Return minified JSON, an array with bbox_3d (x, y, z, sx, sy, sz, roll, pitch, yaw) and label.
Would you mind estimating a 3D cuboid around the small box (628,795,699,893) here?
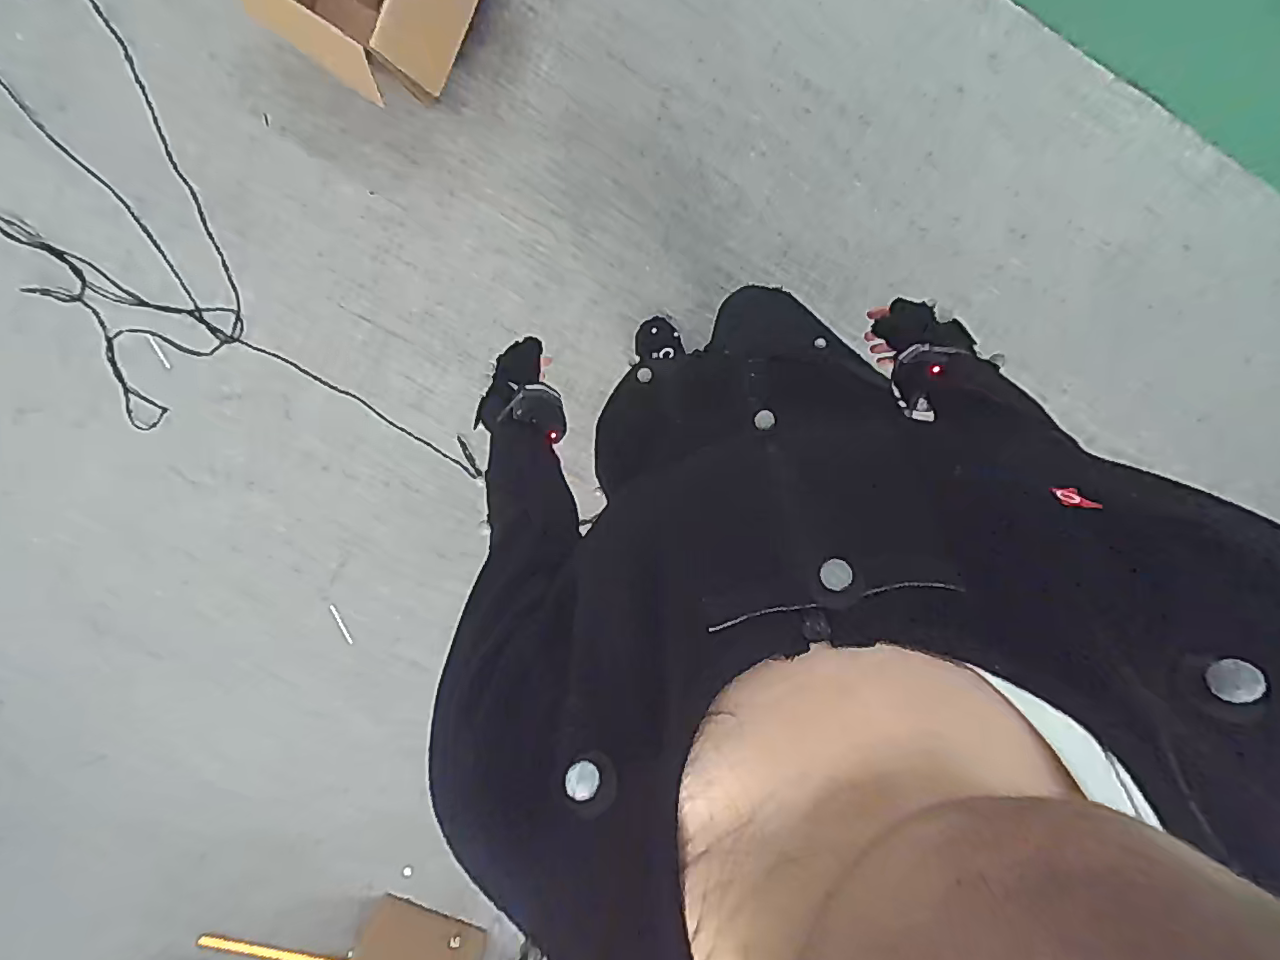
[{"bbox_3d":[0.074,1.174,1.750,0.168,0.176,0.179,26,104,-7],"label":"small box"}]
